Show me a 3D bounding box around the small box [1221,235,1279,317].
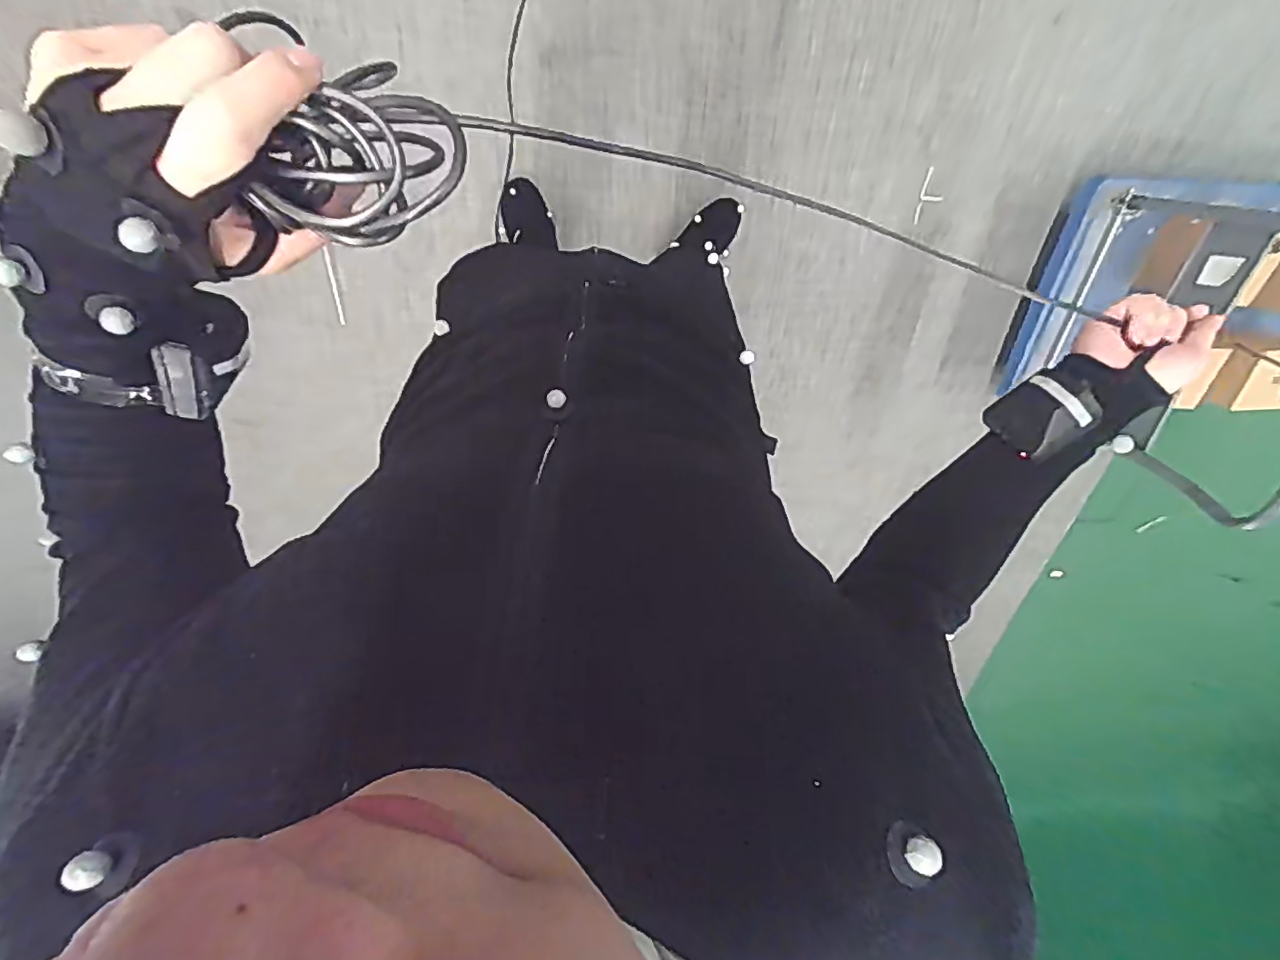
[{"bbox_3d":[1.620,-0.501,1.329,0.179,0.176,0.168,-3,123,-3],"label":"small box"}]

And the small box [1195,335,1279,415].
[{"bbox_3d":[1.625,-0.288,1.462,0.179,0.176,0.168,-2,121,-2],"label":"small box"}]

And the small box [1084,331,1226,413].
[{"bbox_3d":[1.356,-0.290,1.438,0.179,0.176,0.168,1,122,-5],"label":"small box"}]
